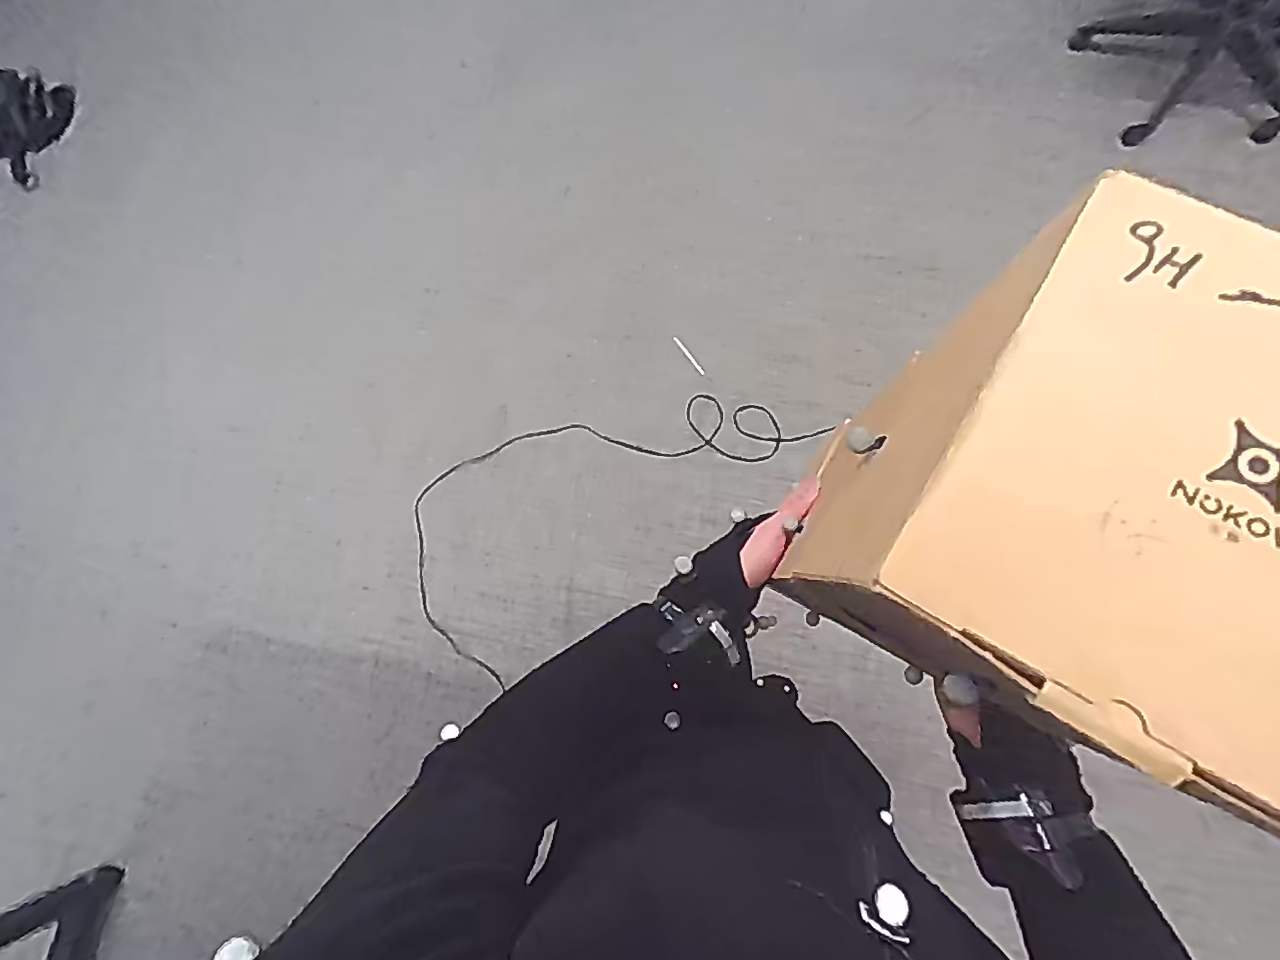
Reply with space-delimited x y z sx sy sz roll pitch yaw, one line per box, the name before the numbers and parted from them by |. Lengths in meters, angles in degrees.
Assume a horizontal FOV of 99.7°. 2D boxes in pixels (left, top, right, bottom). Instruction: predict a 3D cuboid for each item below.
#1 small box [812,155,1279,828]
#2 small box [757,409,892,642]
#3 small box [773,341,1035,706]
small box | 0.197 0.009 0.250 0.168 0.176 0.179 30 87 10
small box | 0.235 0.055 0.569 0.168 0.176 0.179 28 85 11
small box | 0.215 0.034 0.411 0.168 0.176 0.179 28 84 10
